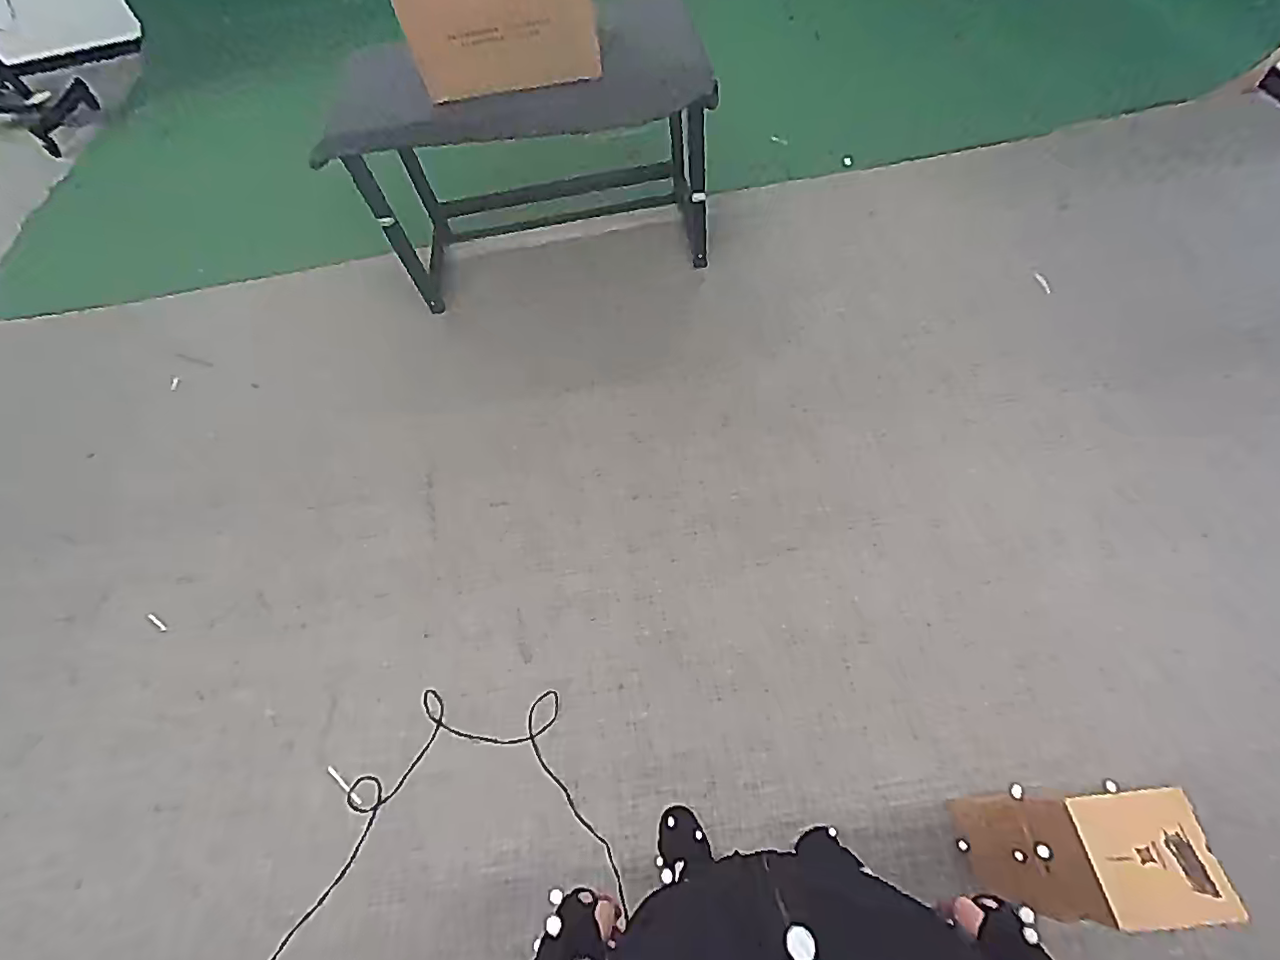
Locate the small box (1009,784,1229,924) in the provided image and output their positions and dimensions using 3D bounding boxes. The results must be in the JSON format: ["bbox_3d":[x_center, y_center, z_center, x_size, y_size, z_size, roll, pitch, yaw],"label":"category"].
[{"bbox_3d":[0.752,0.593,0.876,0.179,0.176,0.168,-8,59,3],"label":"small box"}]

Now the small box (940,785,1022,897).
[{"bbox_3d":[0.779,0.762,1.155,0.168,0.176,0.179,-7,61,2],"label":"small box"}]

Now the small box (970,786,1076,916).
[{"bbox_3d":[0.763,0.683,1.016,0.168,0.176,0.179,-9,62,2],"label":"small box"}]
